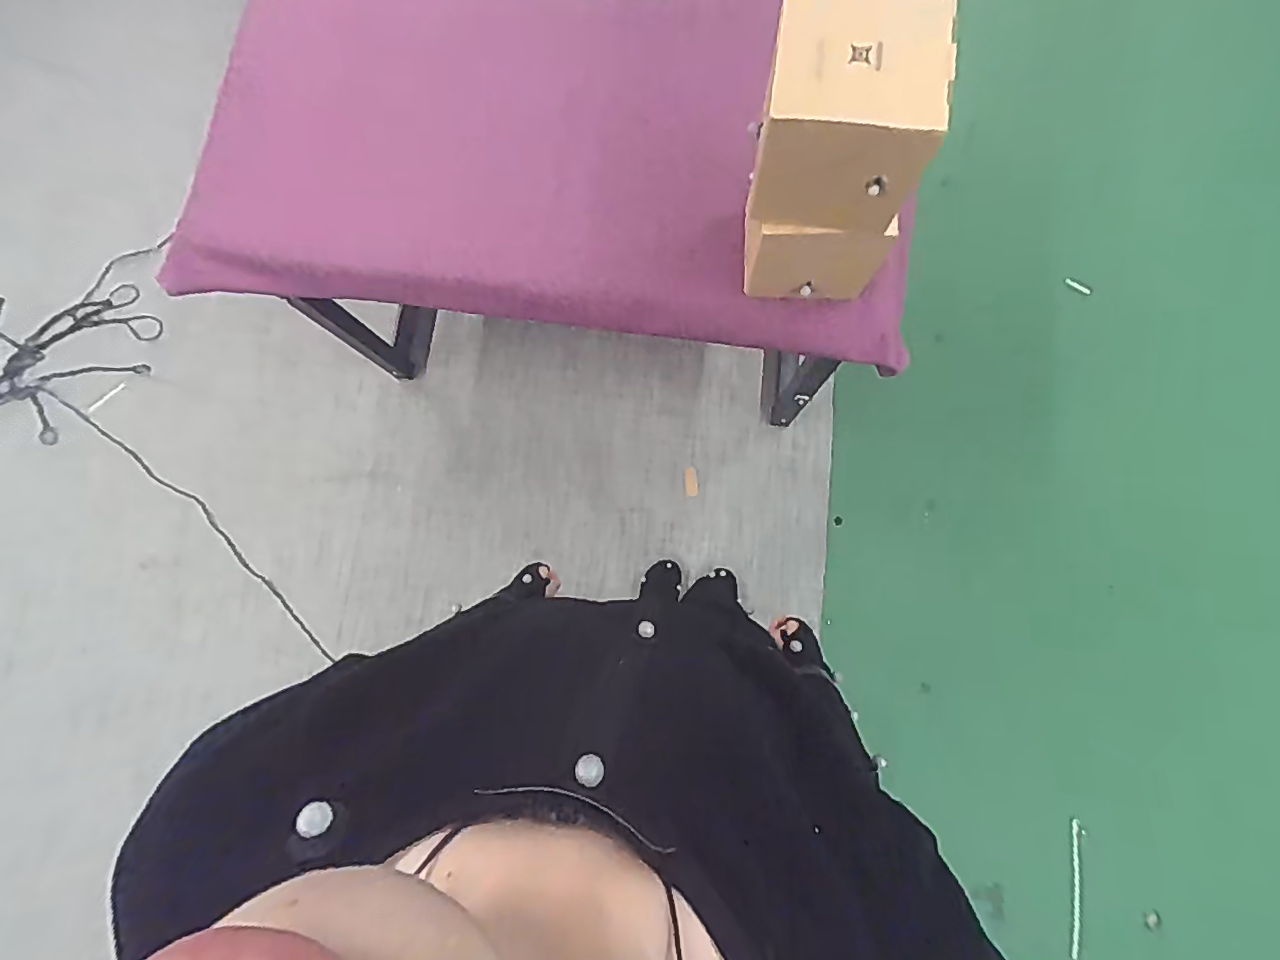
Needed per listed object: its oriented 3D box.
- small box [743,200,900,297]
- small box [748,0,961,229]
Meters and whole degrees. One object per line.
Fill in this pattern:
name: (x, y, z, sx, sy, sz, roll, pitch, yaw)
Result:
small box: (0.250, -0.379, 0.779, 0.179, 0.176, 0.168, 3, 81, 4)
small box: (0.231, -0.414, 0.620, 0.179, 0.176, 0.168, 9, 81, 6)
